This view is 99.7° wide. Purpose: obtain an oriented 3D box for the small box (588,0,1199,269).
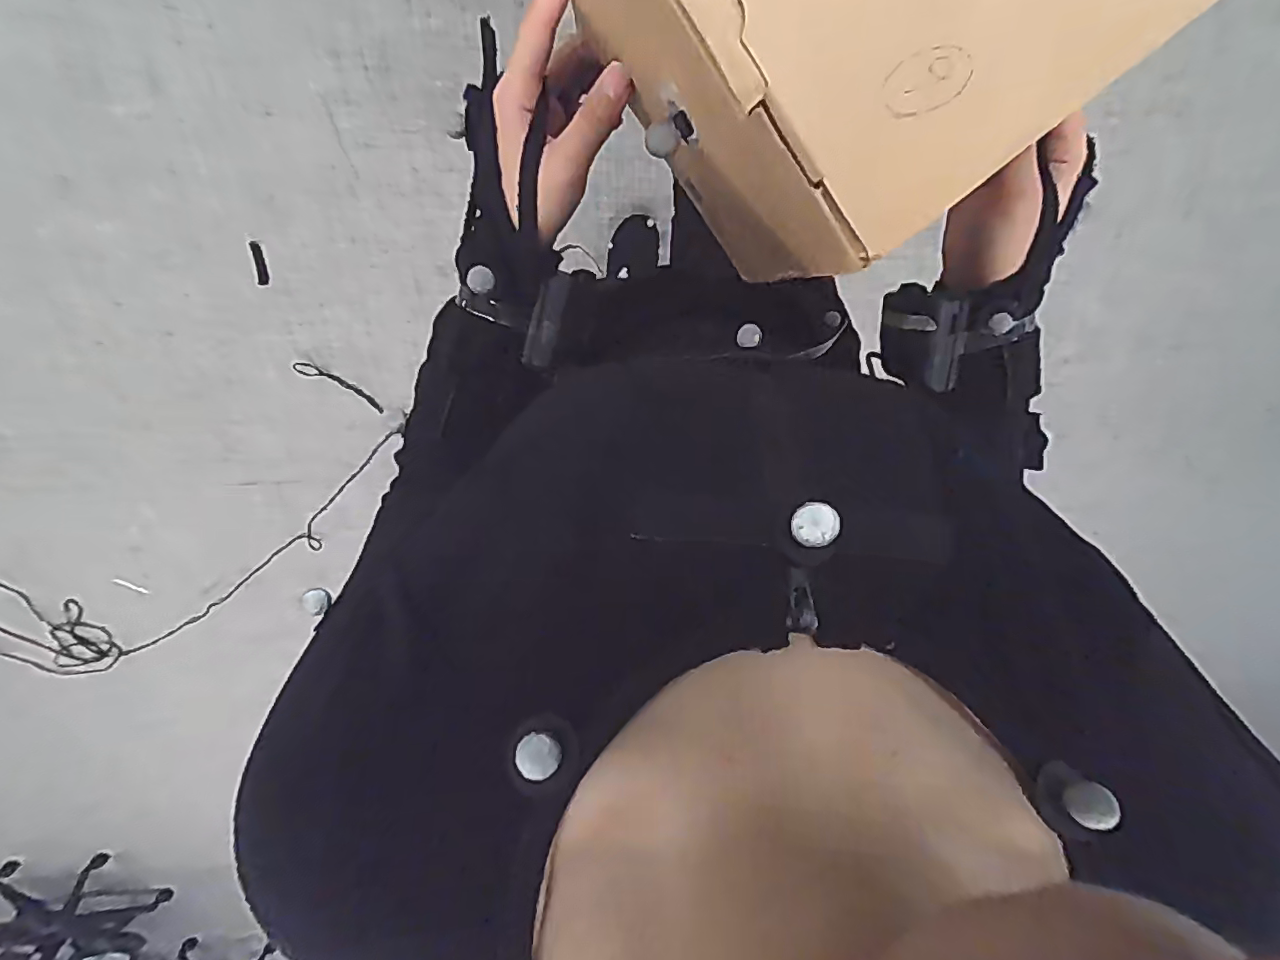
[{"bbox_3d":[0.085,-0.204,0.213,0.179,0.176,0.168,-36,105,10],"label":"small box"}]
